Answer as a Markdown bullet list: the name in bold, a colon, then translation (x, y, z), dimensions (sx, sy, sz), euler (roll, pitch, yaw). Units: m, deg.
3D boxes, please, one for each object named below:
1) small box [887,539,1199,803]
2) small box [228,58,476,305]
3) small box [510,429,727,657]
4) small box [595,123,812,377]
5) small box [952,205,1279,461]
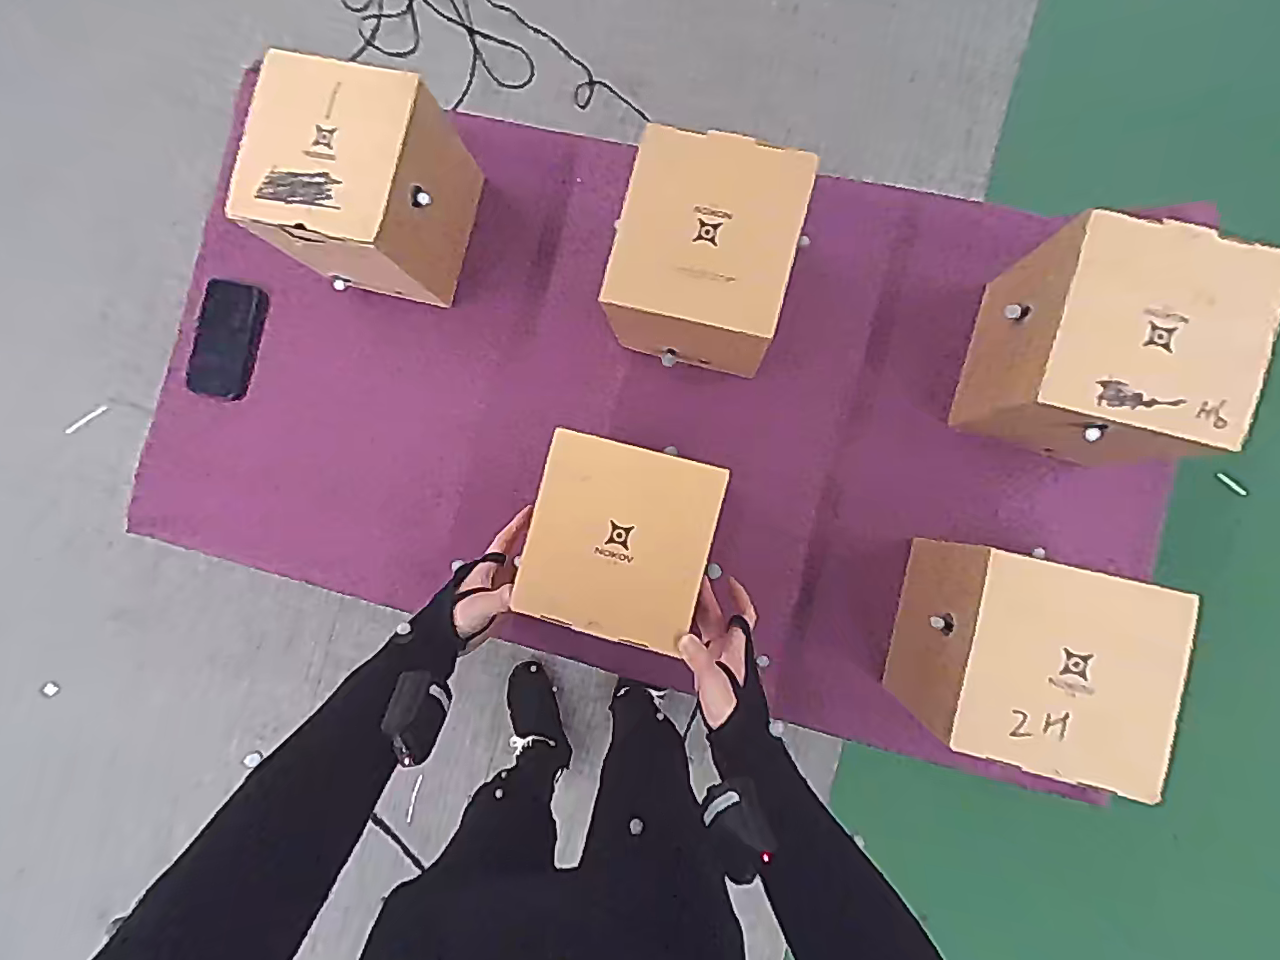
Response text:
- **small box**: translation (0.360, 0.160, 0.520), dimensions (0.168, 0.176, 0.179), euler (13, 89, 8)
- **small box**: translation (-0.306, -0.319, 0.612), dimensions (0.168, 0.176, 0.179), euler (13, 89, 6)
- **small box**: translation (-0.014, 0.058, 0.568), dimensions (0.168, 0.176, 0.179), euler (14, 90, 6)
- **small box**: translation (0.064, -0.226, 0.573), dimensions (0.168, 0.176, 0.179), euler (15, 90, 7)
- **small box**: translation (0.440, -0.127, 0.529), dimensions (0.168, 0.176, 0.179), euler (16, 89, 7)
